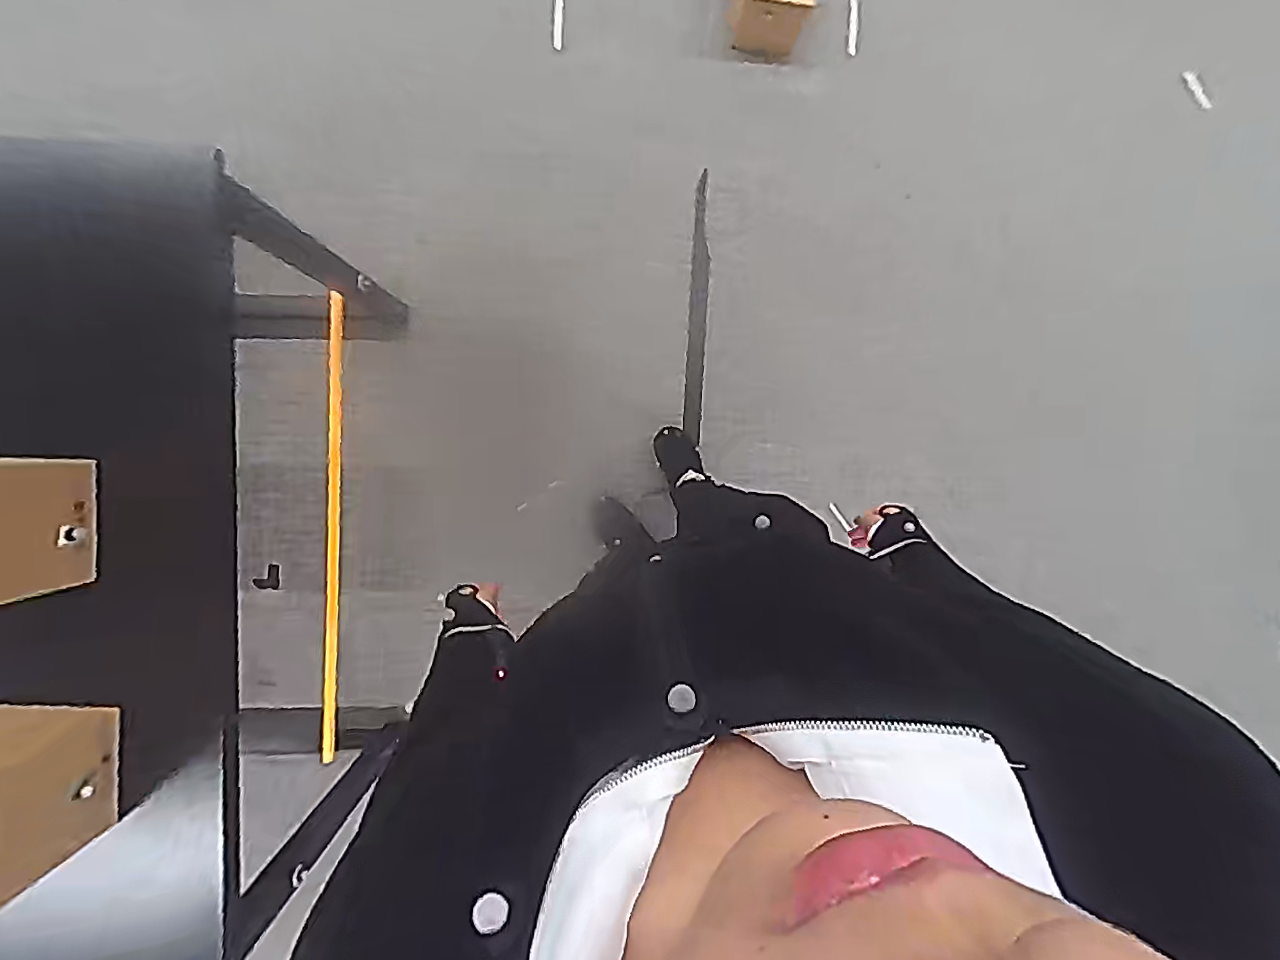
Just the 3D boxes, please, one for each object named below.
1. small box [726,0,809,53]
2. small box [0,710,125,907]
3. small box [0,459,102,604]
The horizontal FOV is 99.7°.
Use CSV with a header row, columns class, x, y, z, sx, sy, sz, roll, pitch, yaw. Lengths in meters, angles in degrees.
class,x,y,z,sx,sy,sz,roll,pitch,yaw
small box,0.325,-1.241,1.383,0.179,0.176,0.168,4,93,-5
small box,-0.796,0.398,0.661,0.179,0.176,0.168,2,93,-3
small box,-0.813,0.061,0.648,0.179,0.176,0.168,0,94,-4
